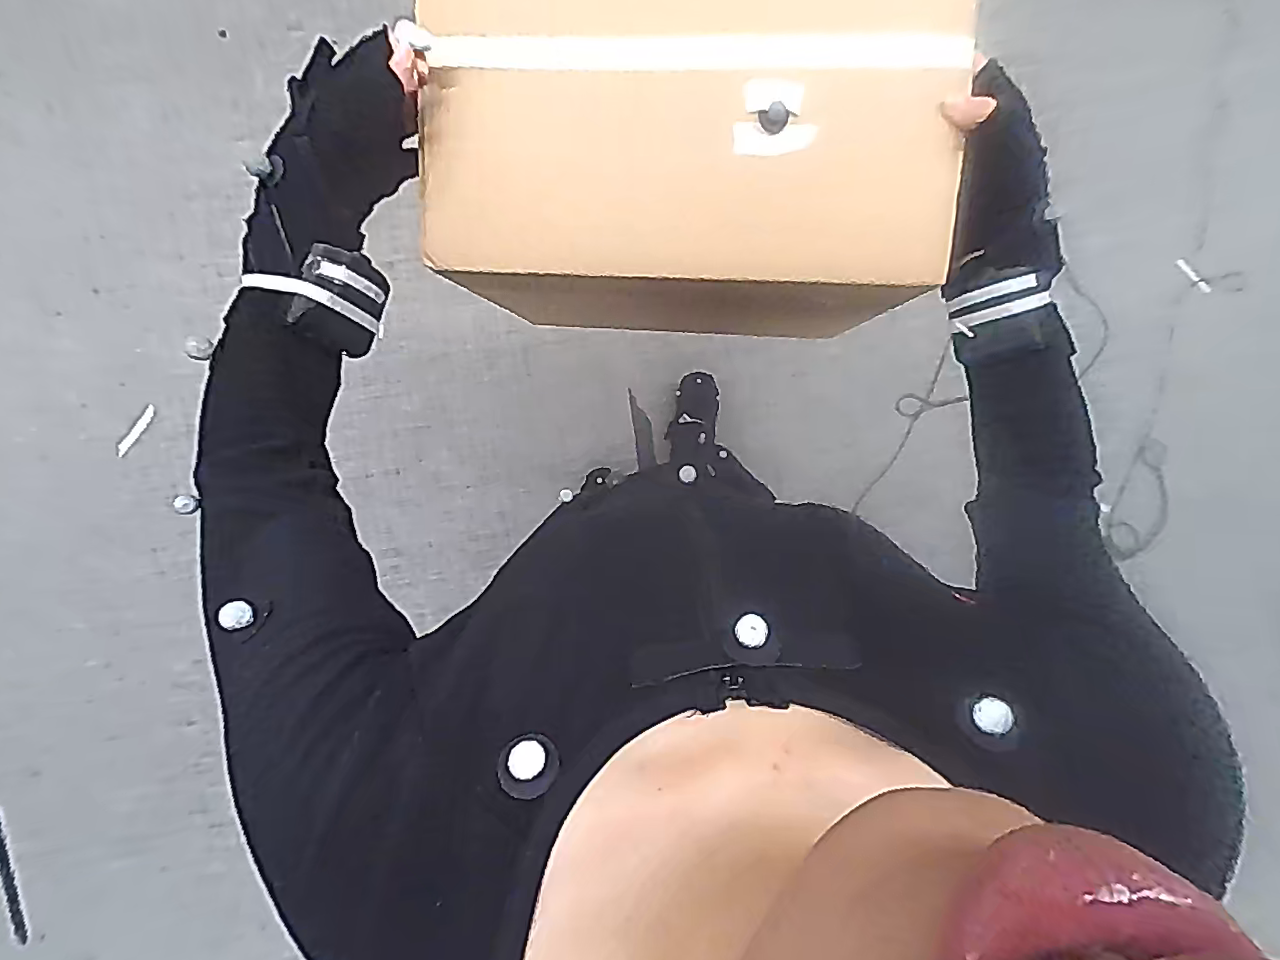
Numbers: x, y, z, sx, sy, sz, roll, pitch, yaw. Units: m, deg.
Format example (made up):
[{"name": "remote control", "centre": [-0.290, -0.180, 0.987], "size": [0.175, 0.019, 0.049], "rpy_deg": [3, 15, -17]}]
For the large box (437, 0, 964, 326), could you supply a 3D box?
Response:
[{"name": "large box", "centre": [0.046, -0.342, 0.559], "size": [0.408, 0.320, 0.320], "rpy_deg": [3, 98, 3]}]
